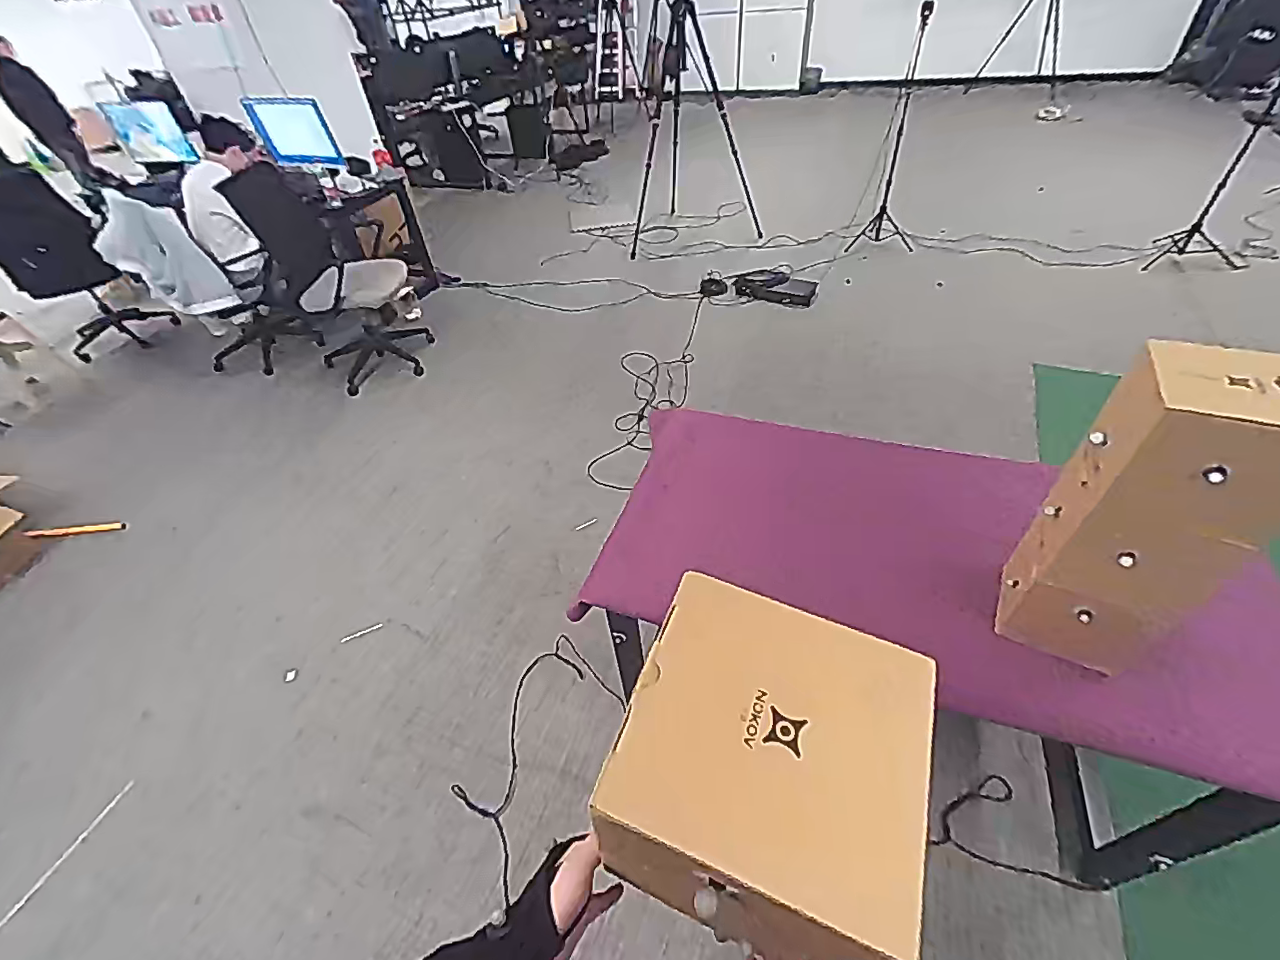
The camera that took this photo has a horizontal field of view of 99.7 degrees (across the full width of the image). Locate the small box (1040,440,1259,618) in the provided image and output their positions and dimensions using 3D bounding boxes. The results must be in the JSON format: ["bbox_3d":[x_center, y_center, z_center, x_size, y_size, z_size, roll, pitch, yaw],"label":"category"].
[{"bbox_3d":[0.714,0.072,0.786,0.179,0.176,0.168,17,49,23],"label":"small box"}]

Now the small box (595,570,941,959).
[{"bbox_3d":[0.084,0.198,0.386,0.179,0.176,0.168,18,52,14],"label":"small box"}]

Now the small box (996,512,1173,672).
[{"bbox_3d":[0.726,0.188,0.900,0.179,0.176,0.168,21,50,24],"label":"small box"}]

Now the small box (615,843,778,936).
[{"bbox_3d":[0.084,0.400,0.643,0.179,0.176,0.168,19,51,16],"label":"small box"}]

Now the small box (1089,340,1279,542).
[{"bbox_3d":[0.705,-0.047,0.672,0.179,0.176,0.168,17,49,22],"label":"small box"}]
